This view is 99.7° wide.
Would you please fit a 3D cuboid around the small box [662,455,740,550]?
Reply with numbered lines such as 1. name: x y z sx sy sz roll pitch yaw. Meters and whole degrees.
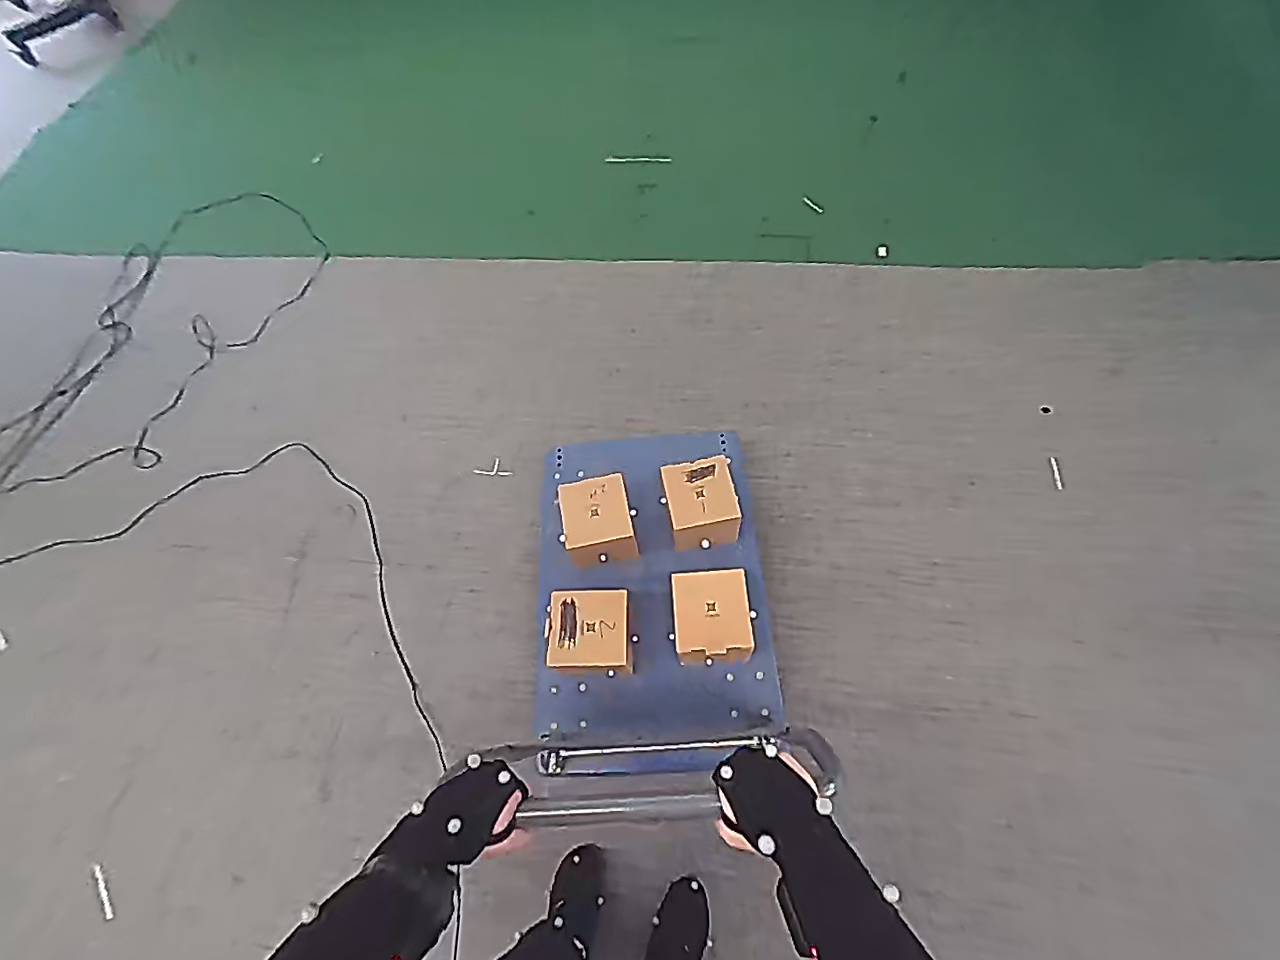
1. small box: 0.151 0.062 1.388 0.168 0.176 0.179 -11 63 0

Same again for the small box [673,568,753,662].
1. small box: 0.163 0.317 1.259 0.168 0.176 0.179 -5 63 3

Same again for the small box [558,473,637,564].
1. small box: -0.105 0.107 1.388 0.168 0.176 0.179 -11 63 -1
